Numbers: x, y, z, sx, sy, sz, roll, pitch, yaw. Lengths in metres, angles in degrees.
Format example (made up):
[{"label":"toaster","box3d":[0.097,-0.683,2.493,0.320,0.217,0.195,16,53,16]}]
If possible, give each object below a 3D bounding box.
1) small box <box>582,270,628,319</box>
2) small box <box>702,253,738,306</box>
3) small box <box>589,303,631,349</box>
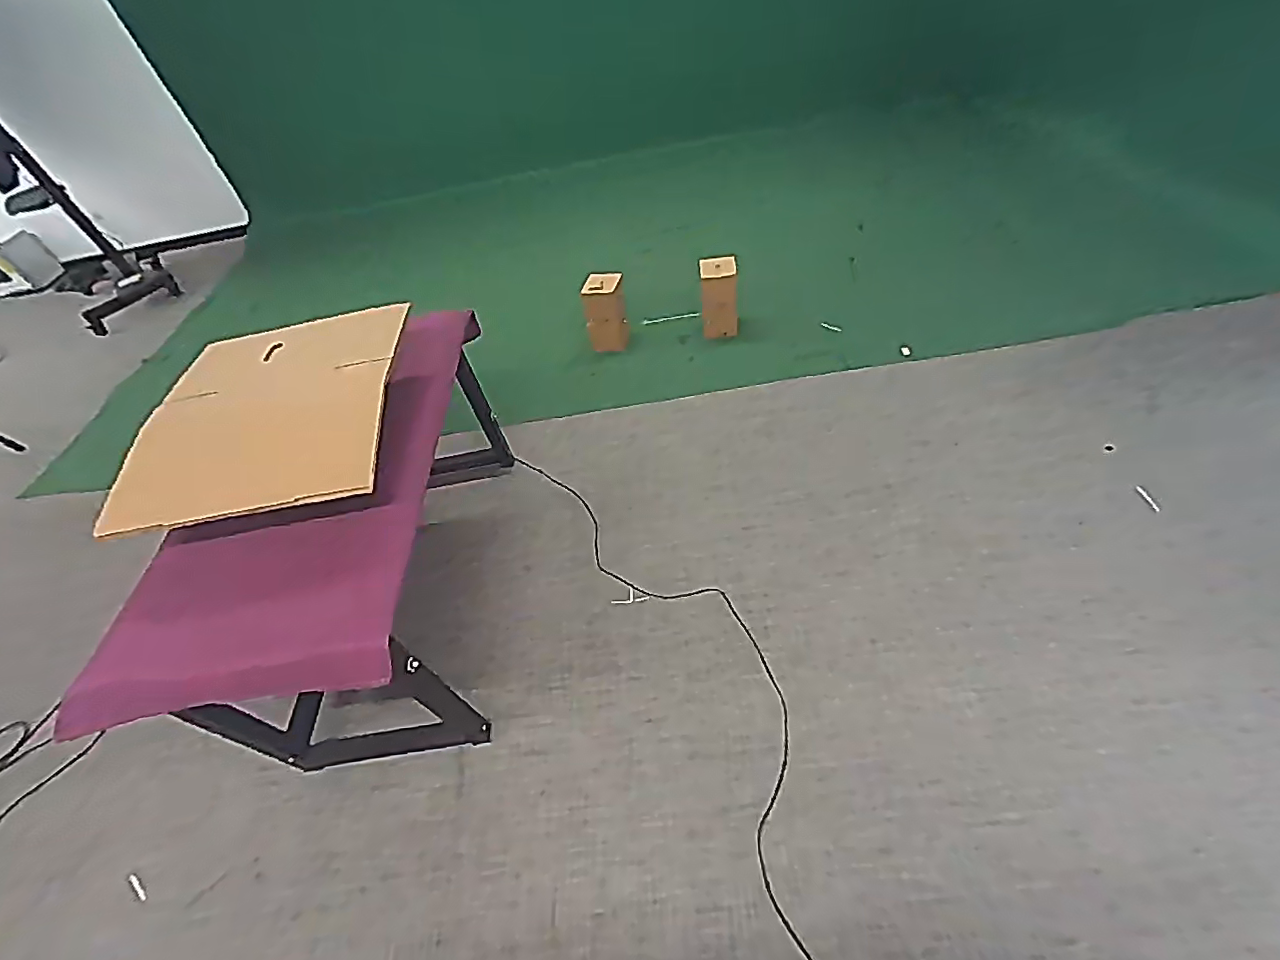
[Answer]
[{"label":"small box","box3d":[-0.166,-0.910,2.660,0.168,0.176,0.179,6,51,15]},{"label":"small box","box3d":[0.383,-0.959,2.588,0.168,0.176,0.179,-3,49,8]},{"label":"small box","box3d":[-0.149,-0.798,2.779,0.168,0.176,0.179,3,52,14]}]
